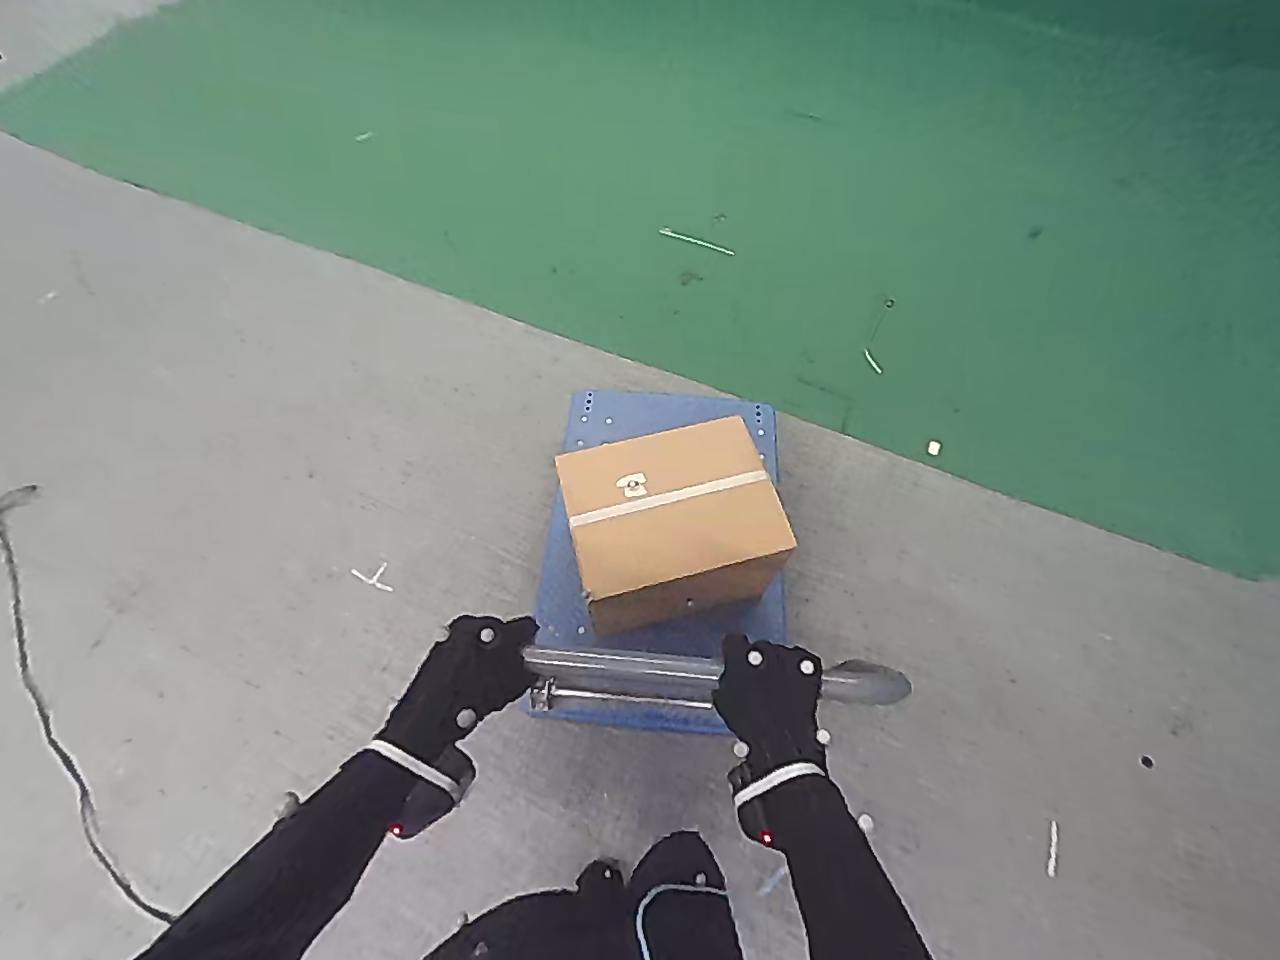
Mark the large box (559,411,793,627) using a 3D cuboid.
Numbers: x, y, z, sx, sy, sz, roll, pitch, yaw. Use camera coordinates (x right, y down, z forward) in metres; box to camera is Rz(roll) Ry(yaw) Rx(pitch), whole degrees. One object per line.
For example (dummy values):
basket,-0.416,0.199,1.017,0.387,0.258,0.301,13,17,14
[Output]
large box,0.064,0.097,1.195,0.408,0.320,0.320,-14,63,-7
